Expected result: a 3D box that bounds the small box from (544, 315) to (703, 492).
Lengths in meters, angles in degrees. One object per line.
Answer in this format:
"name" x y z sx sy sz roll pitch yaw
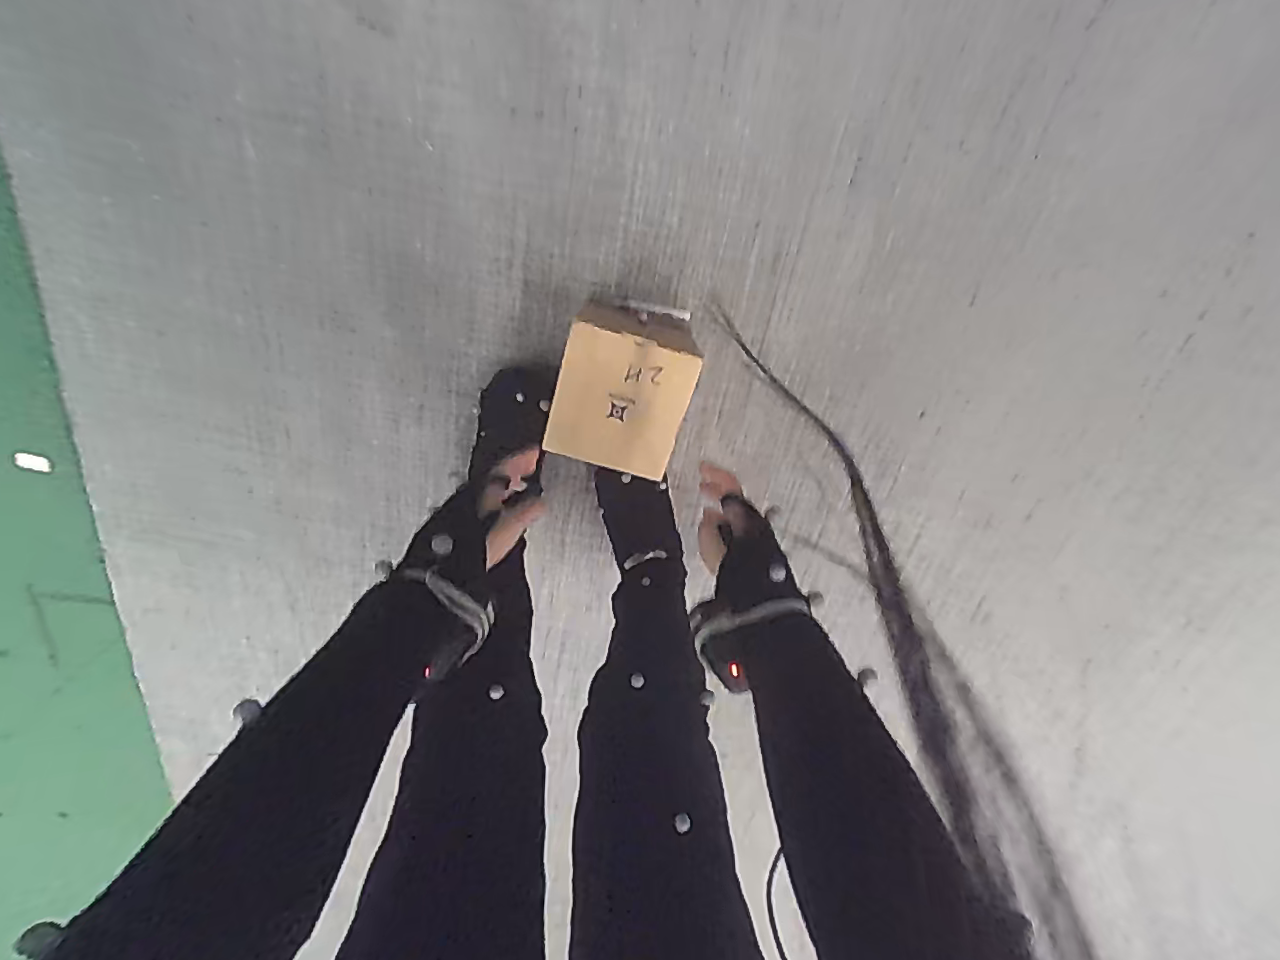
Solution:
"small box" -0.023 -0.113 0.757 0.168 0.176 0.179 16 114 -7
